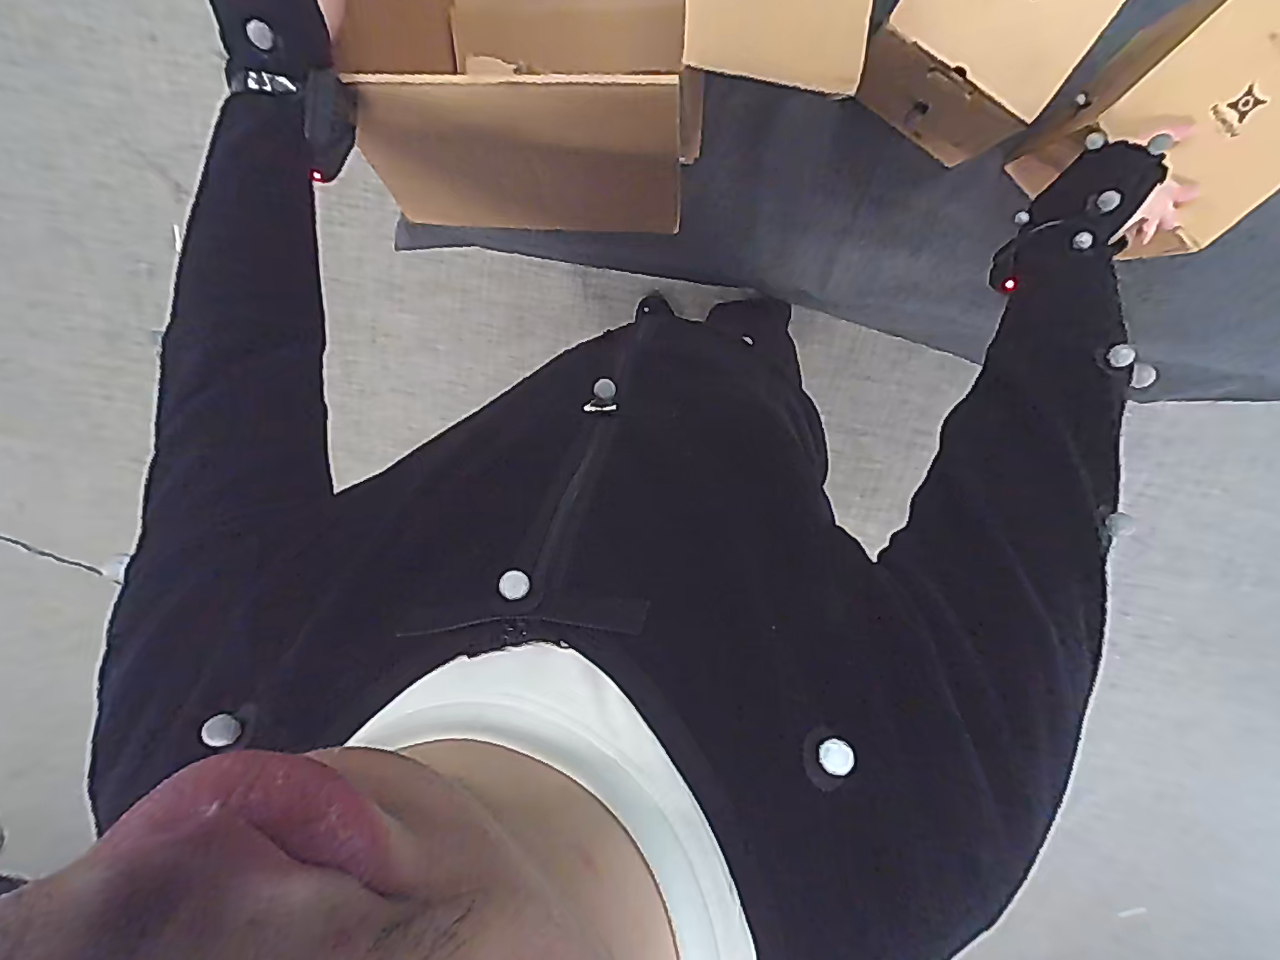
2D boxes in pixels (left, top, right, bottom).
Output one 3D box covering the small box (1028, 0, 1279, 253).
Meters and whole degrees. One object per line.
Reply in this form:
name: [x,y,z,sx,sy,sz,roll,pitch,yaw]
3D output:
small box: [0.546,-0.356,0.552,0.168,0.176,0.179,41,108,-8]
